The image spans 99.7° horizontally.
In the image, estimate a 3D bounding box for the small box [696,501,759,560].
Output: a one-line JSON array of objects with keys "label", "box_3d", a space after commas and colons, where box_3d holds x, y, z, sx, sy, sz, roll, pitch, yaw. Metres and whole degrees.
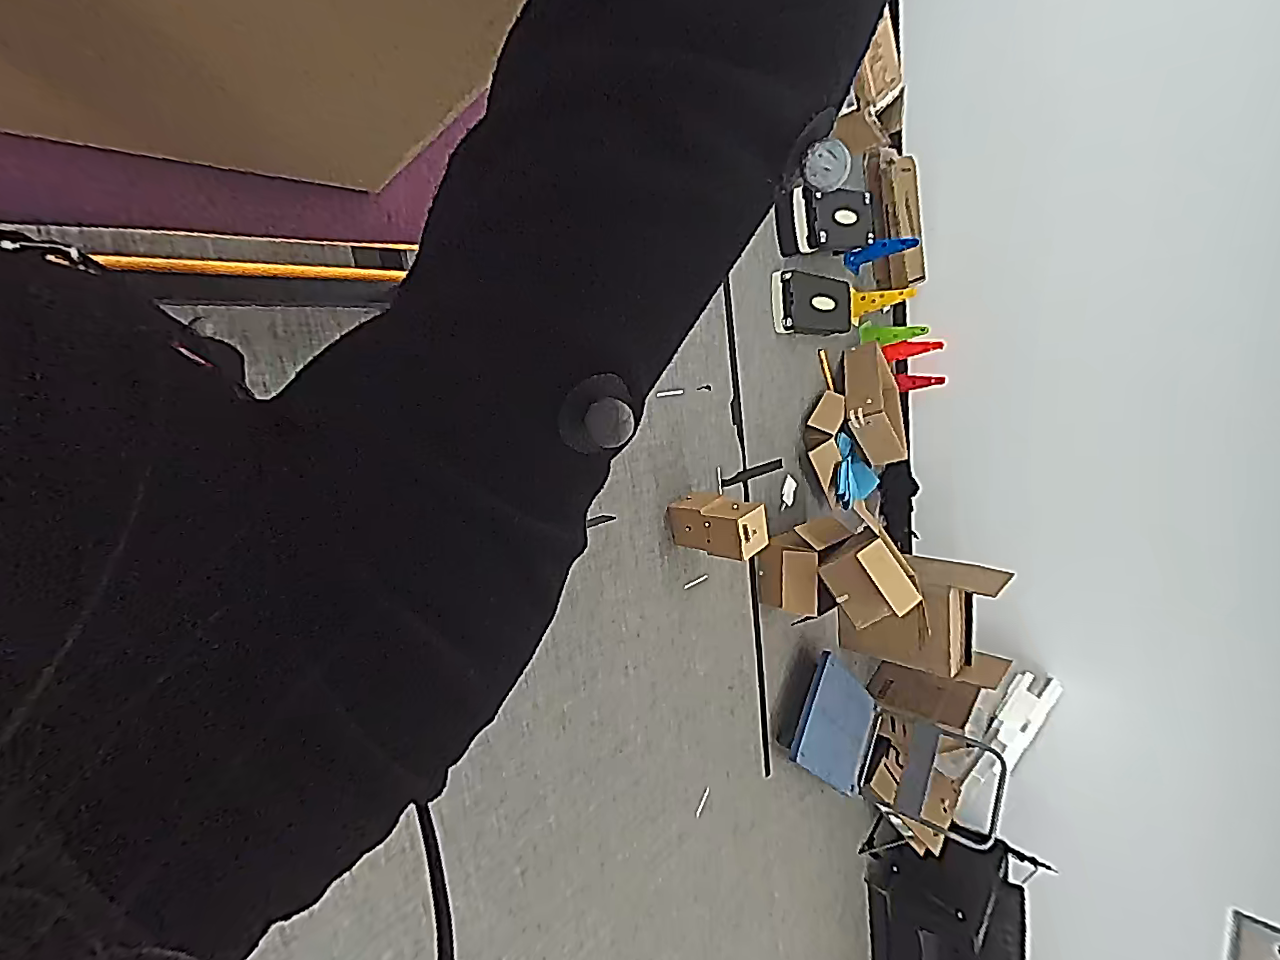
[{"label": "small box", "box_3d": [0.326, 0.187, 2.044, 0.179, 0.176, 0.168, -24, 110, -43]}]
